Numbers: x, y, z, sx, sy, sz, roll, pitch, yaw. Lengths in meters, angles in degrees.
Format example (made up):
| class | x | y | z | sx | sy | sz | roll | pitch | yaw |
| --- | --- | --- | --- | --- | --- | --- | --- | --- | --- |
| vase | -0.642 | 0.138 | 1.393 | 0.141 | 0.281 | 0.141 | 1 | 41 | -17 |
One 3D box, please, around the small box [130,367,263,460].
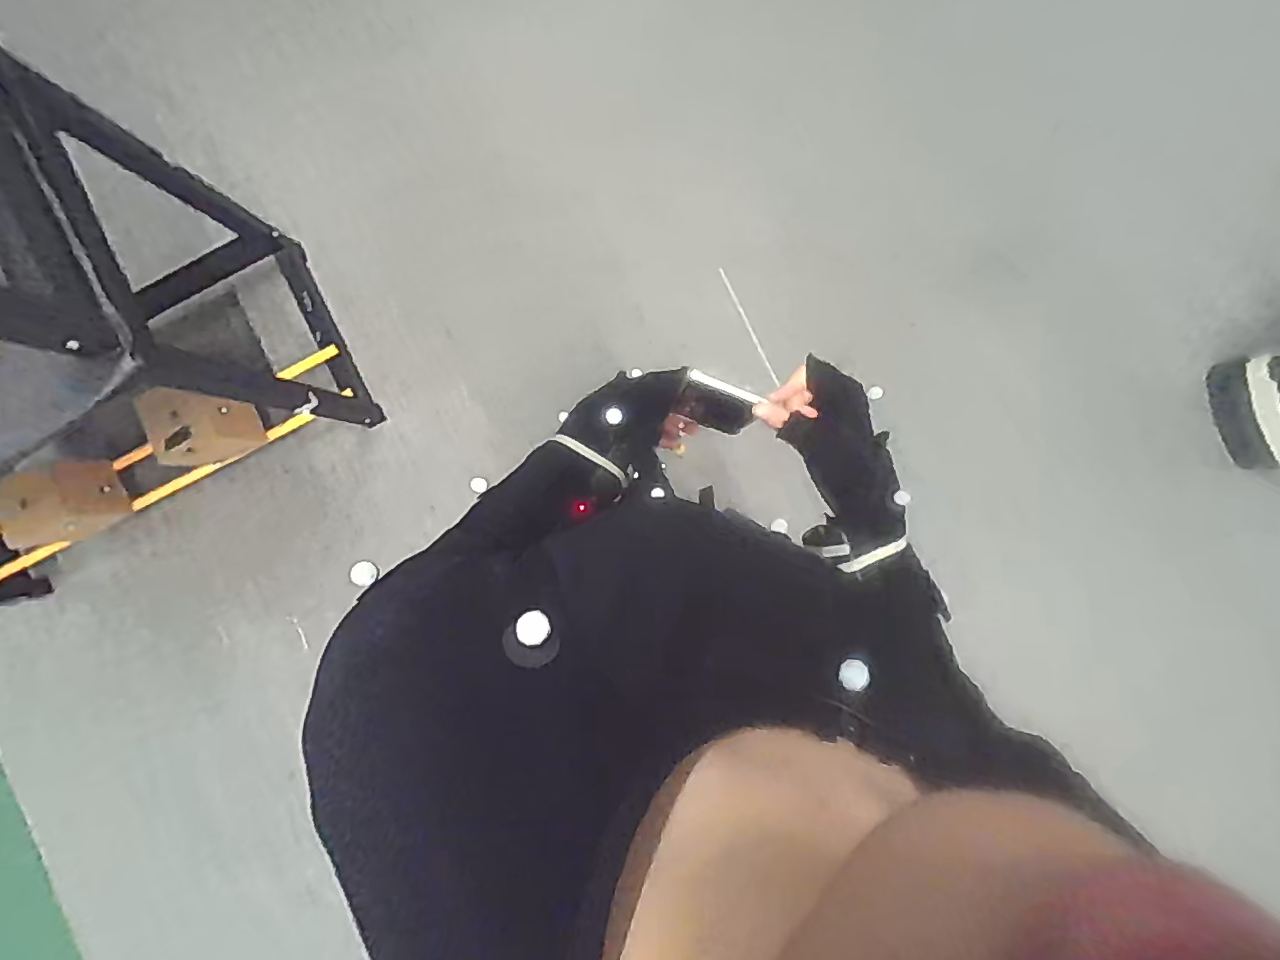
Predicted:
| class | x | y | z | sx | sy | sz | roll | pitch | yaw |
| --- | --- | --- | --- | --- | --- | --- | --- | --- | --- |
| small box | -1.098 | -0.159 | 1.353 | 0.168 | 0.176 | 0.179 | -23 | 89 | 3 |
